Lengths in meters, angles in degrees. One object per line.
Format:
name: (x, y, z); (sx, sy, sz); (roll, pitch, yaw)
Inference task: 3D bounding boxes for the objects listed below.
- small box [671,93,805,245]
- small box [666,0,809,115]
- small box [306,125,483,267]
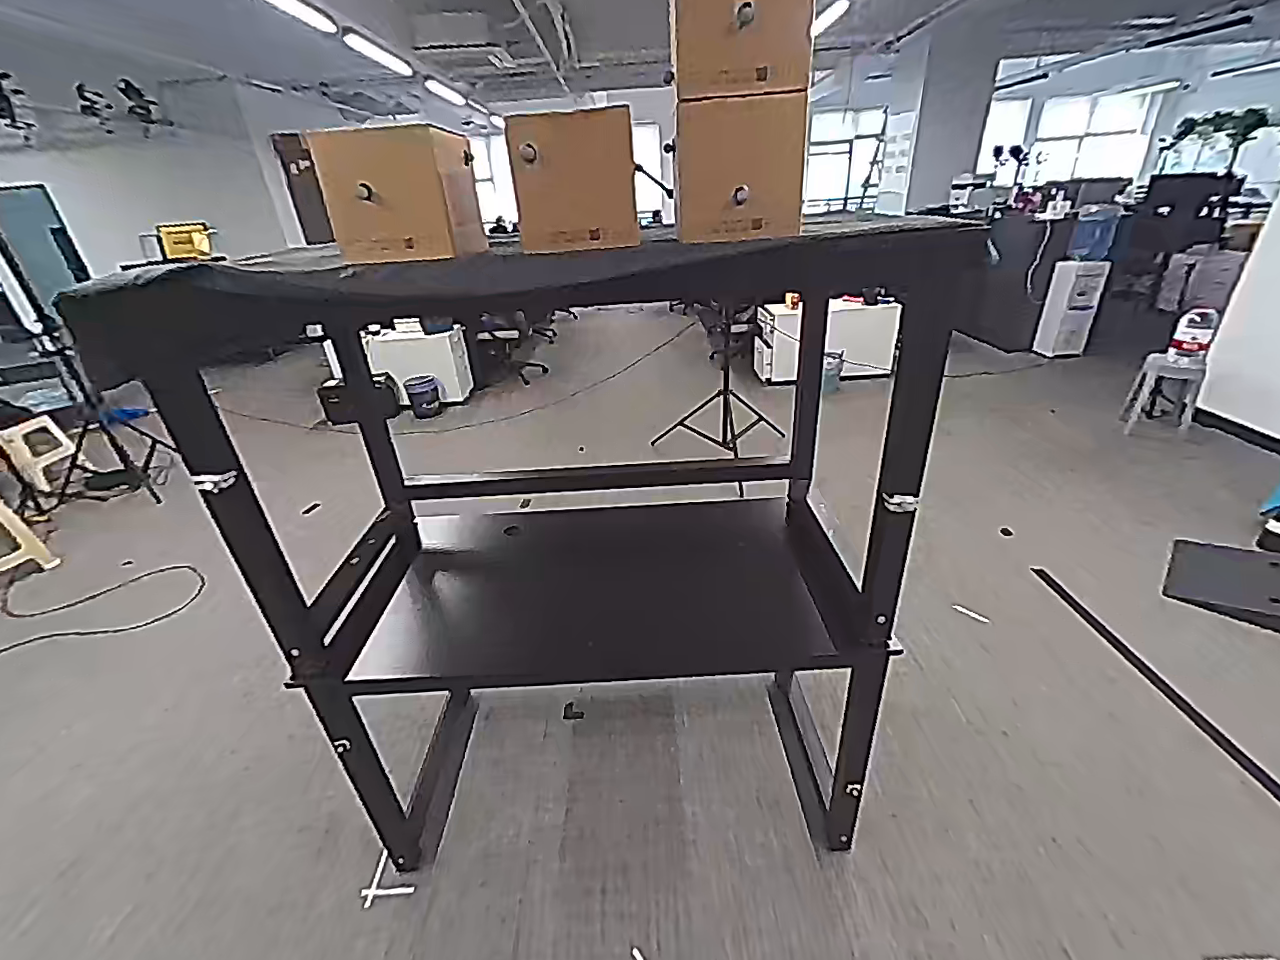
small box: (0.131, -0.439, 0.784); (0.168, 0.176, 0.179); (-4, 27, 2)
small box: (0.122, -0.585, 0.710); (0.168, 0.176, 0.179); (-3, 28, 3)
small box: (-0.349, -0.416, 0.811); (0.168, 0.176, 0.179); (-2, 26, 3)
